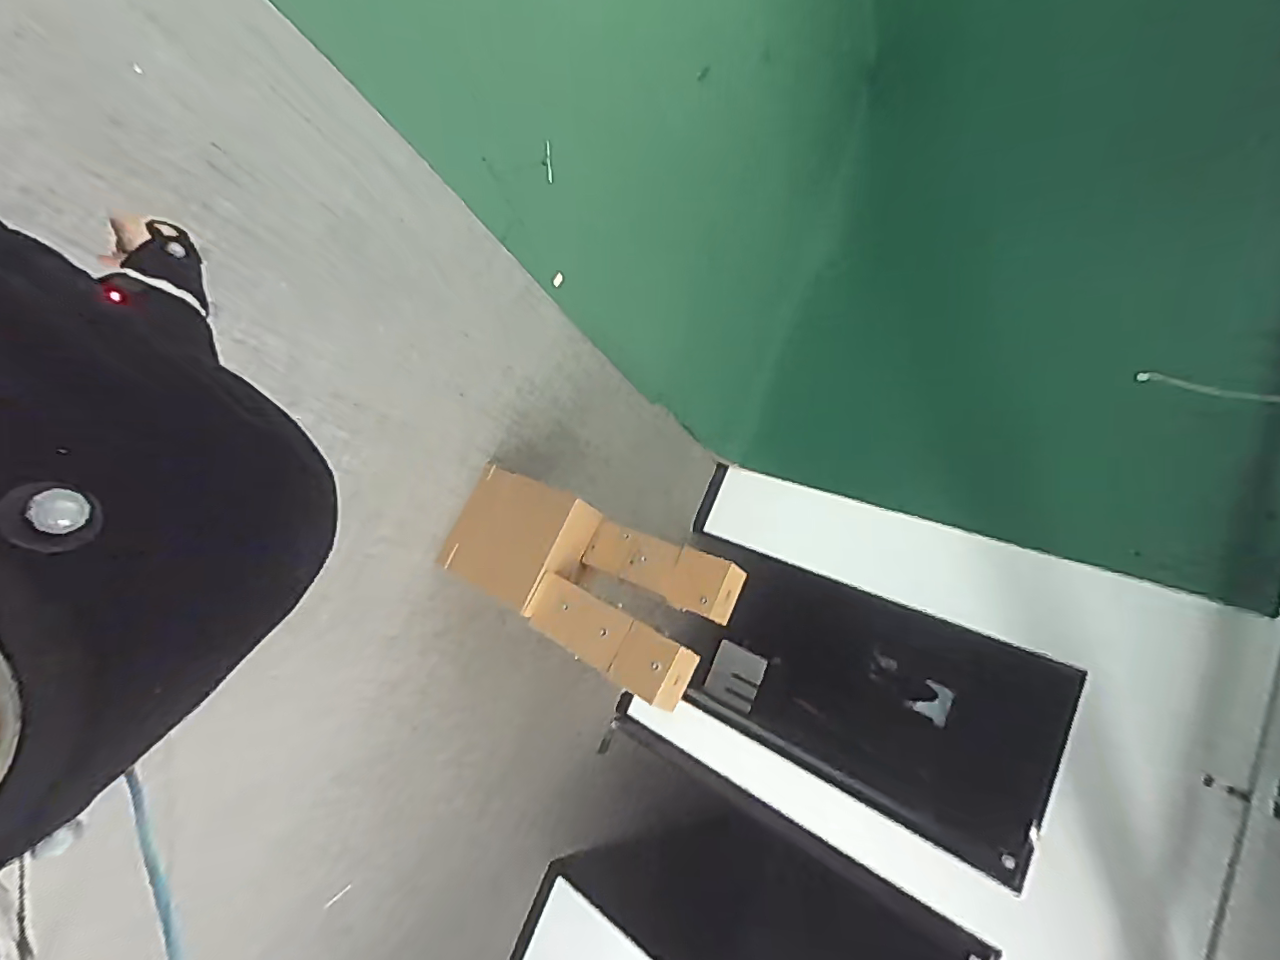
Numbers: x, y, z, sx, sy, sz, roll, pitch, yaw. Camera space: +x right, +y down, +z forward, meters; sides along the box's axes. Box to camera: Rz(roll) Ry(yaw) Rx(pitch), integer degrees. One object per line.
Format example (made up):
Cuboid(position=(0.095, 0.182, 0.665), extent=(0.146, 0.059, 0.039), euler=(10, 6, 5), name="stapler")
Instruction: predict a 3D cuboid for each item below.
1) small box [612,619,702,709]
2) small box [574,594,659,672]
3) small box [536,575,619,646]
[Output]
Cuboid(position=(0.048, 0.522, 1.543), extent=(0.179, 0.176, 0.168), euler=(-60, 144, -14), name="small box")
Cuboid(position=(-0.075, 0.472, 1.638), extent=(0.179, 0.176, 0.168), euler=(-63, 145, -12), name="small box")
Cuboid(position=(-0.203, 0.424, 1.728), extent=(0.168, 0.176, 0.179), euler=(42, 70, -52), name="small box")
